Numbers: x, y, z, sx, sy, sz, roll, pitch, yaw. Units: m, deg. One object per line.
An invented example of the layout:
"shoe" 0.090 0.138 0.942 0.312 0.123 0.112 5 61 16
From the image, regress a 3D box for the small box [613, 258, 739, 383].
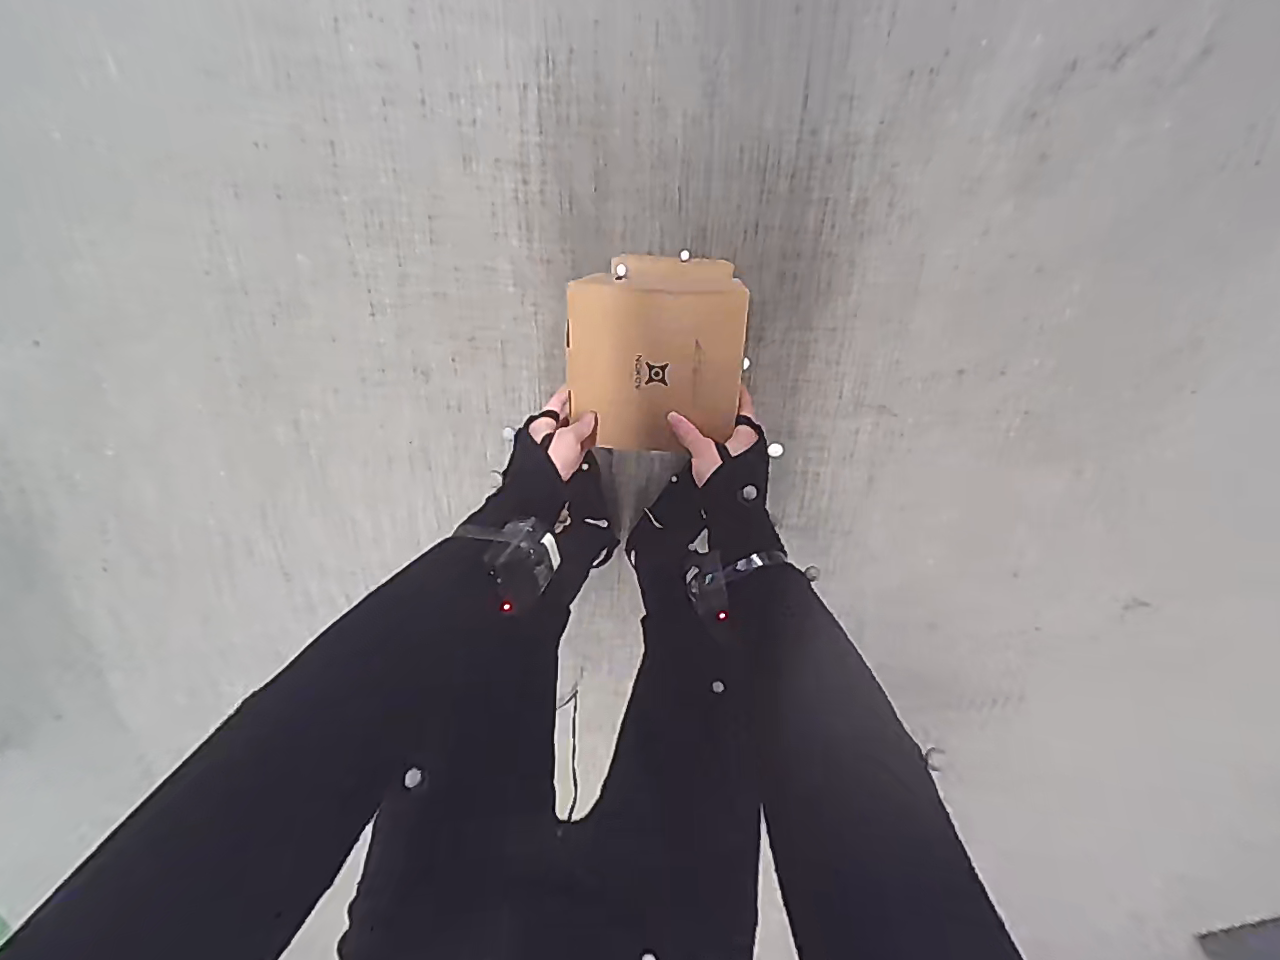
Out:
"small box" 0.054 -0.261 0.867 0.179 0.176 0.168 4 114 3
